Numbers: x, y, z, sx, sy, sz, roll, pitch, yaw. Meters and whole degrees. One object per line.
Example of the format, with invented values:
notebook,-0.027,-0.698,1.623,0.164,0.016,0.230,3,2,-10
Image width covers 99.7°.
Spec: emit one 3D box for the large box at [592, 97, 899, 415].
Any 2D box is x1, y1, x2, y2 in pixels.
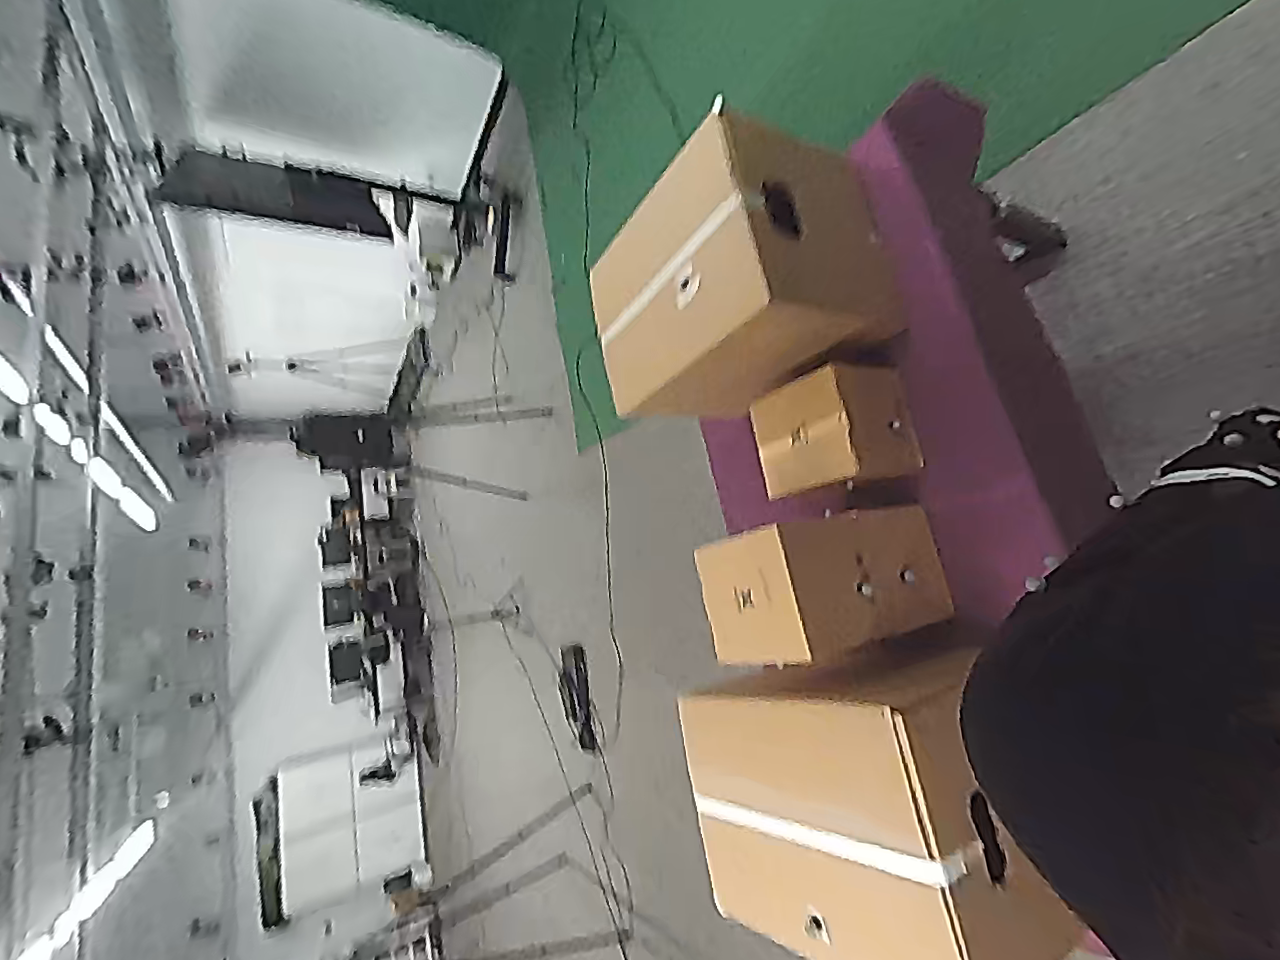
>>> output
large box,0.159,-0.336,0.959,0.408,0.320,0.320,-27,70,52
